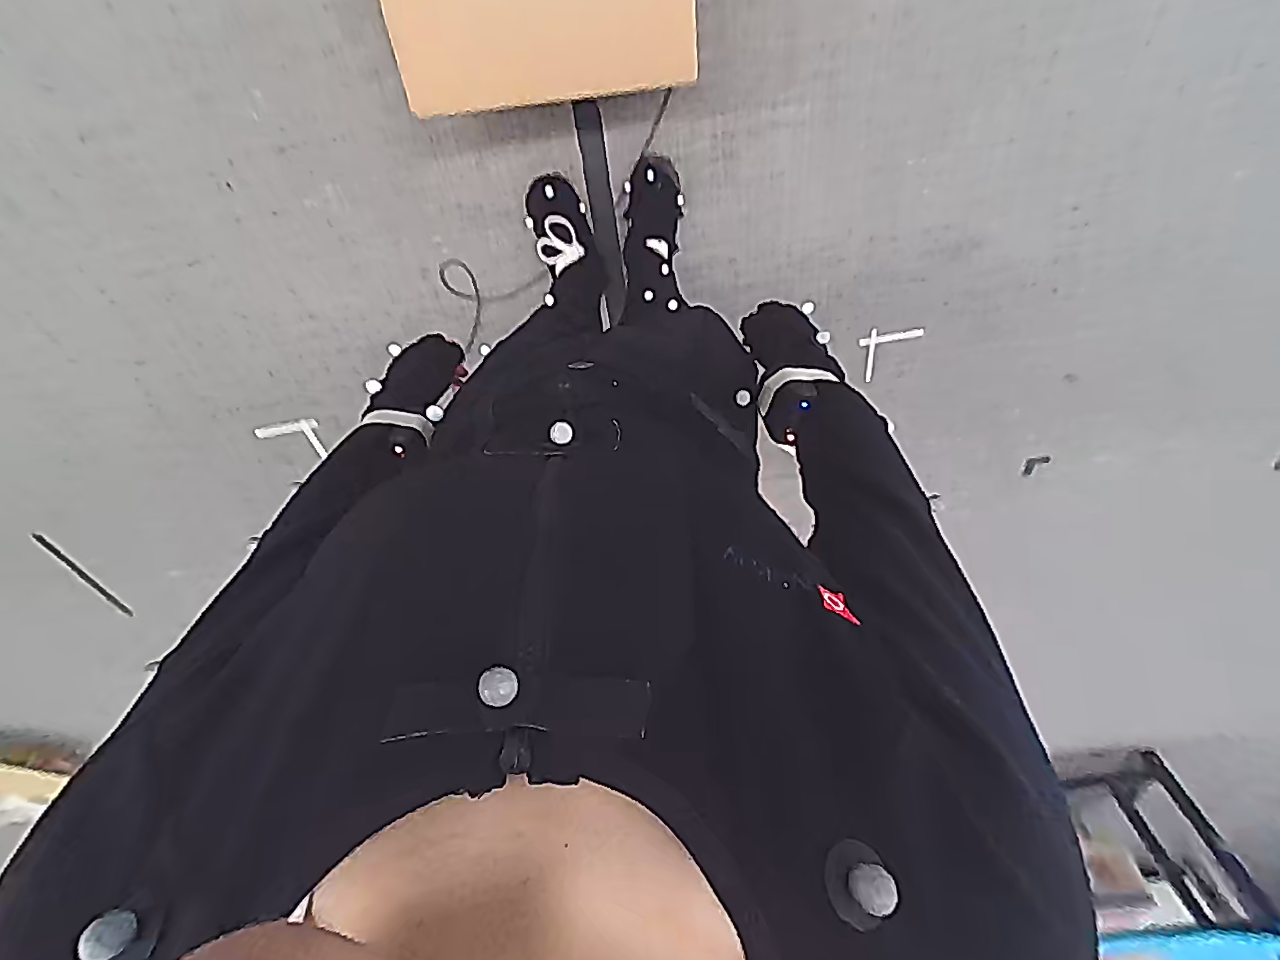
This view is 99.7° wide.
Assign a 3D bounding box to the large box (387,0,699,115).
[{"bbox_3d":[-0.137,-0.750,0.780,0.408,0.320,0.320,-5,130,2],"label":"large box"}]
